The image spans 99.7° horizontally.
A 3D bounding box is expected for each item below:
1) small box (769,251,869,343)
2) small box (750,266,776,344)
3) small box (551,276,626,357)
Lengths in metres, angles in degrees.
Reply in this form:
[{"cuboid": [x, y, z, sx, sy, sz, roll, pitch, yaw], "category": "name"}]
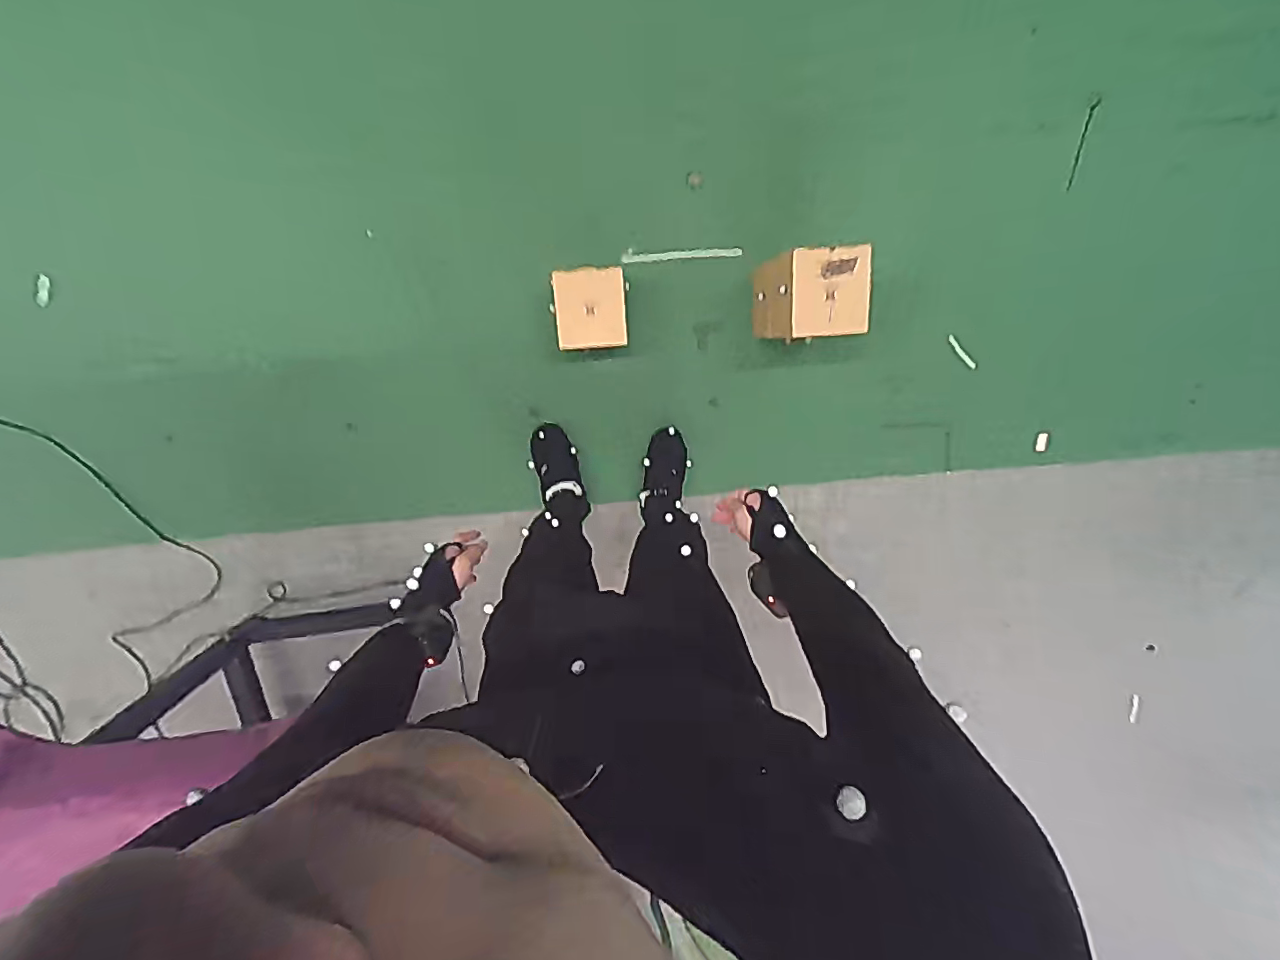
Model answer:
[{"cuboid": [0.391, -0.400, 1.205, 0.168, 0.176, 0.179, -4, 104, -2], "category": "small box"}, {"cuboid": [0.379, -0.438, 1.365, 0.168, 0.176, 0.179, -4, 104, -2], "category": "small box"}, {"cuboid": [-0.122, -0.403, 1.348, 0.168, 0.176, 0.179, -5, 103, -2], "category": "small box"}]
